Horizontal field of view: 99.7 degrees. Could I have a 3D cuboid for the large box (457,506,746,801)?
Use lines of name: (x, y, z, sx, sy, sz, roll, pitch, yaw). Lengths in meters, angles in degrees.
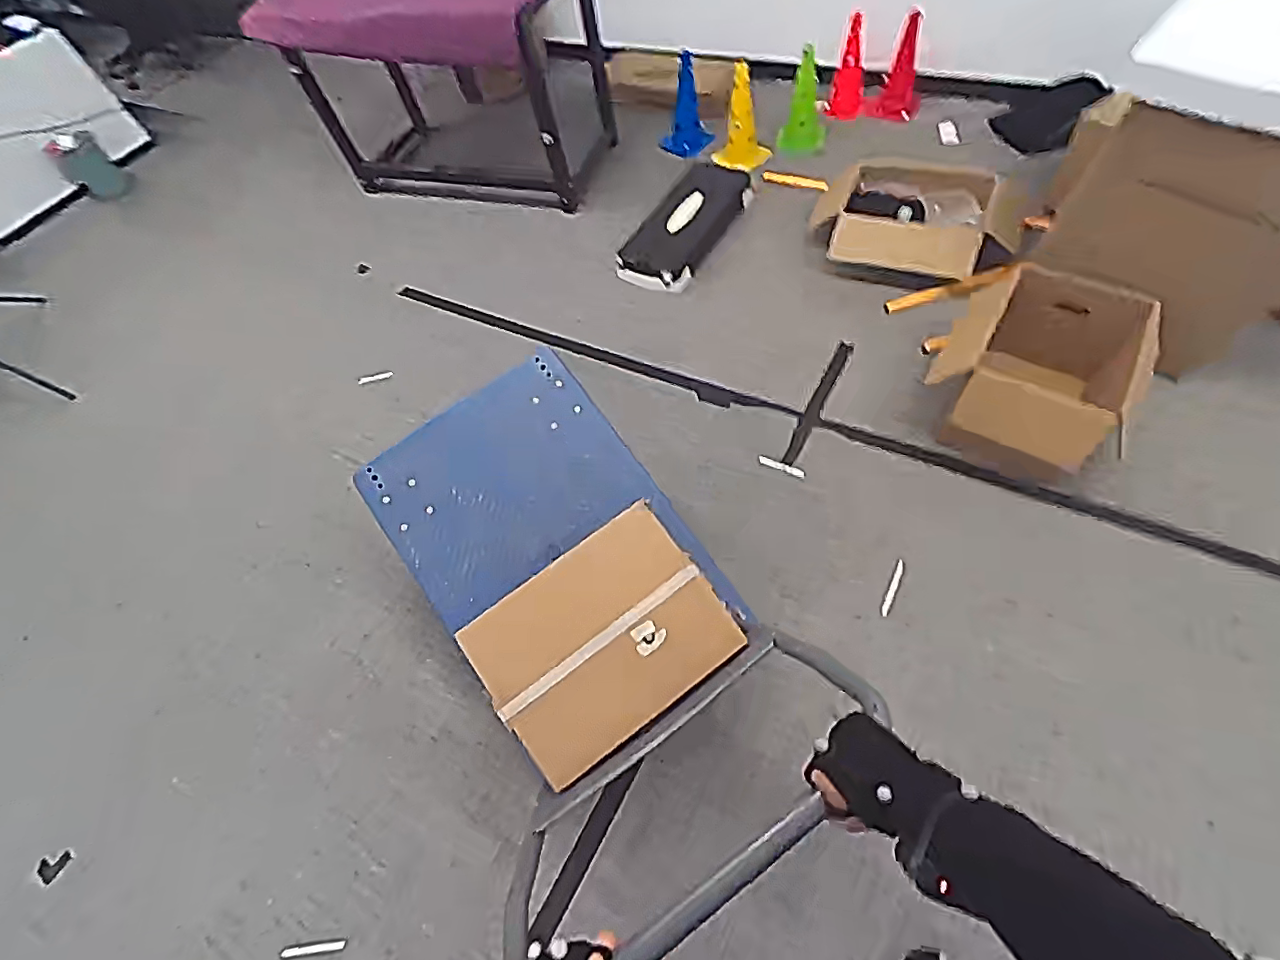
large box: (-0.069, 0.314, 1.056, 0.408, 0.320, 0.320, -36, 81, -9)
